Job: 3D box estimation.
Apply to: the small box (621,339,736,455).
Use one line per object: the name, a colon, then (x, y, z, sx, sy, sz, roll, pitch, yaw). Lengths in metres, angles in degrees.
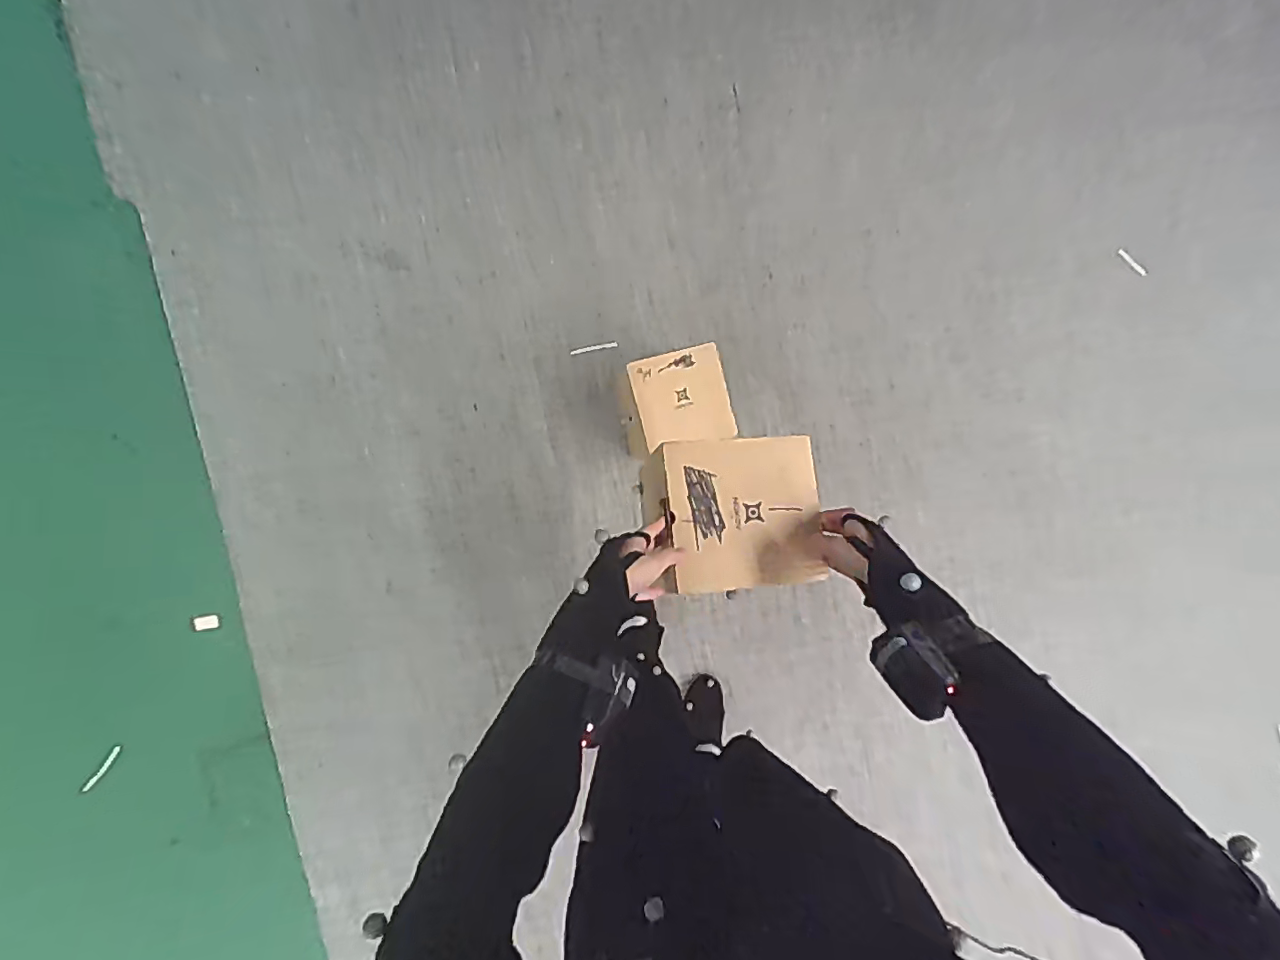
small box: (0.066, -0.150, 1.022, 0.168, 0.176, 0.179, -15, 94, -6)

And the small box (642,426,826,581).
small box: (0.100, 0.035, 0.665, 0.179, 0.176, 0.168, -3, 82, -10)
